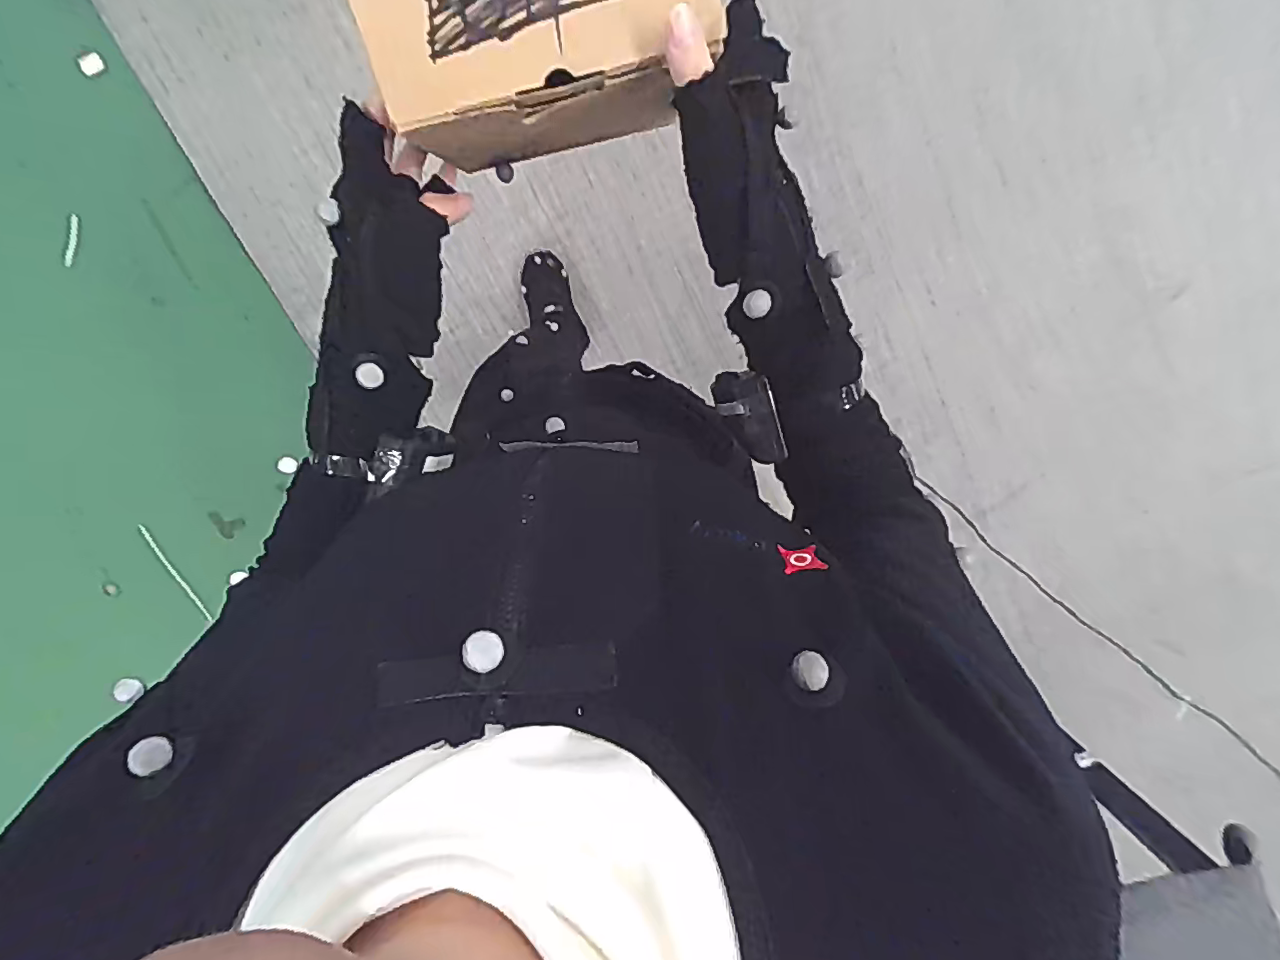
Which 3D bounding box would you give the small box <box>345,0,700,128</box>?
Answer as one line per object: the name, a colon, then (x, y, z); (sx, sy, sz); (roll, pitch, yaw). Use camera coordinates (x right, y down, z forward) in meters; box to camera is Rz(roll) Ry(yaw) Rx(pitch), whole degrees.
small box: (-0.070, -0.314, 0.293); (0.168, 0.176, 0.179); (-13, 113, 1)
